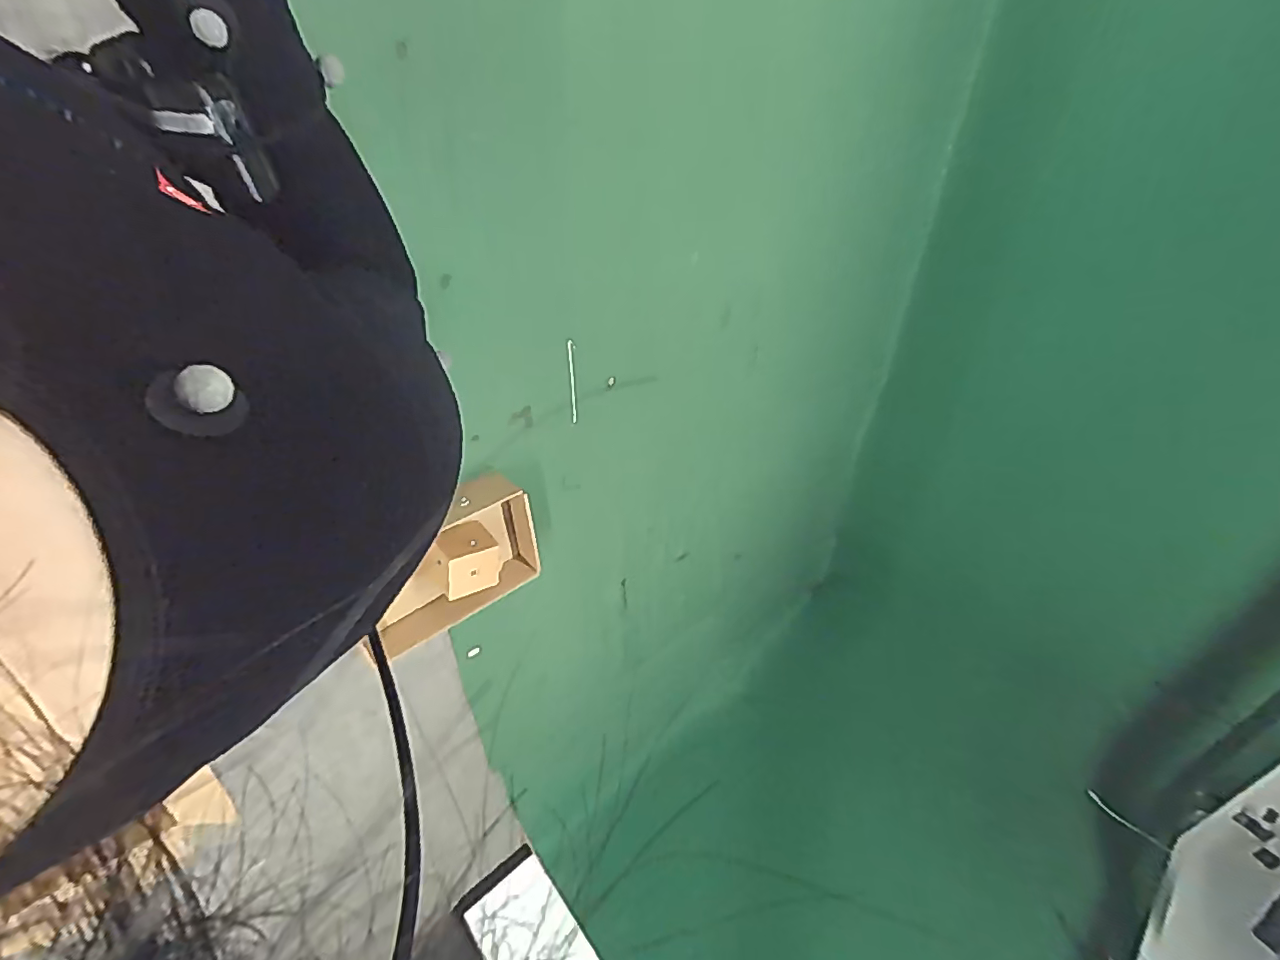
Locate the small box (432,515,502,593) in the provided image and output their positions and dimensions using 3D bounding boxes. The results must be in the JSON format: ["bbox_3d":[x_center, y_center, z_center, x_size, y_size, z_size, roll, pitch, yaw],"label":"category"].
[{"bbox_3d":[-0.576,0.239,1.788,0.179,0.176,0.168,-16,129,-38],"label":"small box"}]
